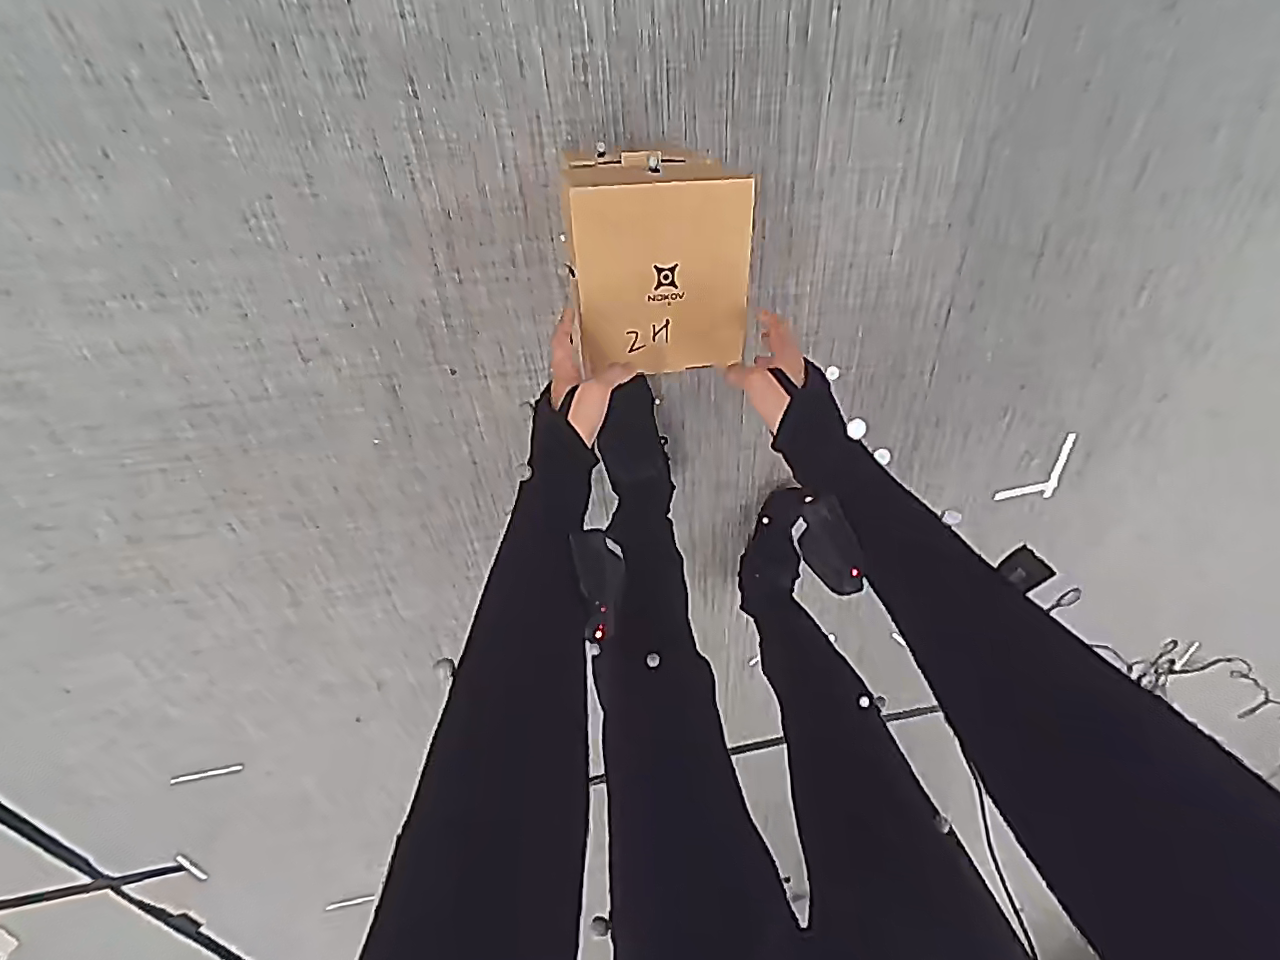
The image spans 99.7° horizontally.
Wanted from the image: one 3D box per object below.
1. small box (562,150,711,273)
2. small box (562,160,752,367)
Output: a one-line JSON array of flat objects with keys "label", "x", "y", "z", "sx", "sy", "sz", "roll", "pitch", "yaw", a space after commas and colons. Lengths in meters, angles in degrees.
[{"label": "small box", "x": -0.012, "y": -0.332, "z": 0.713, "sx": 0.168, "sy": 0.176, "sz": 0.179, "roll": -5, "pitch": 124, "yaw": -7}, {"label": "small box", "x": 0.008, "y": -0.239, "z": 0.579, "sx": 0.168, "sy": 0.176, "sz": 0.179, "roll": -6, "pitch": 125, "yaw": -7}]
